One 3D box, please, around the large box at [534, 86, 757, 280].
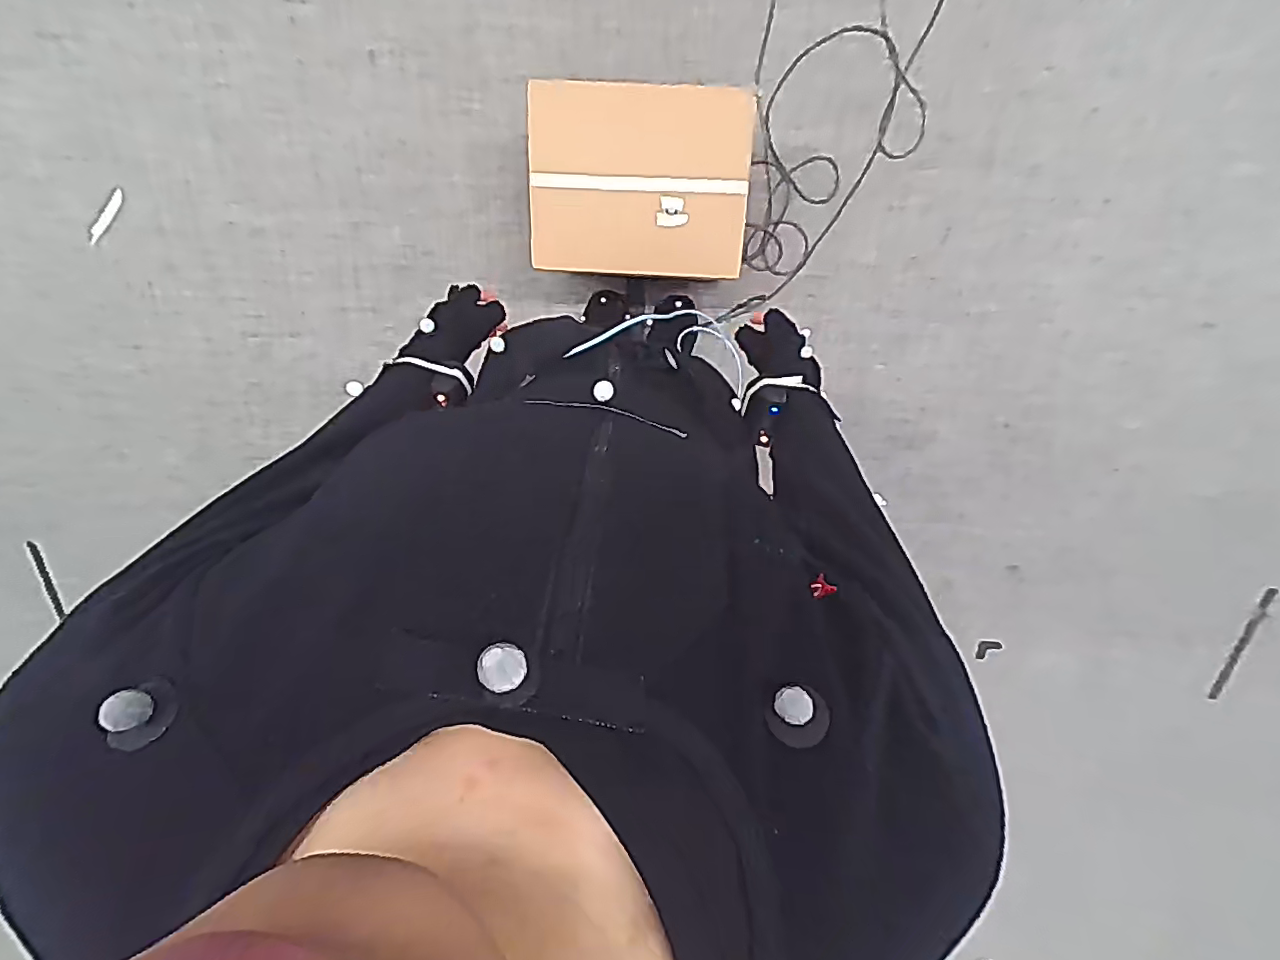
[{"bbox_3d":[0.008,-0.596,1.145,0.408,0.320,0.320,4,111,2],"label":"large box"}]
